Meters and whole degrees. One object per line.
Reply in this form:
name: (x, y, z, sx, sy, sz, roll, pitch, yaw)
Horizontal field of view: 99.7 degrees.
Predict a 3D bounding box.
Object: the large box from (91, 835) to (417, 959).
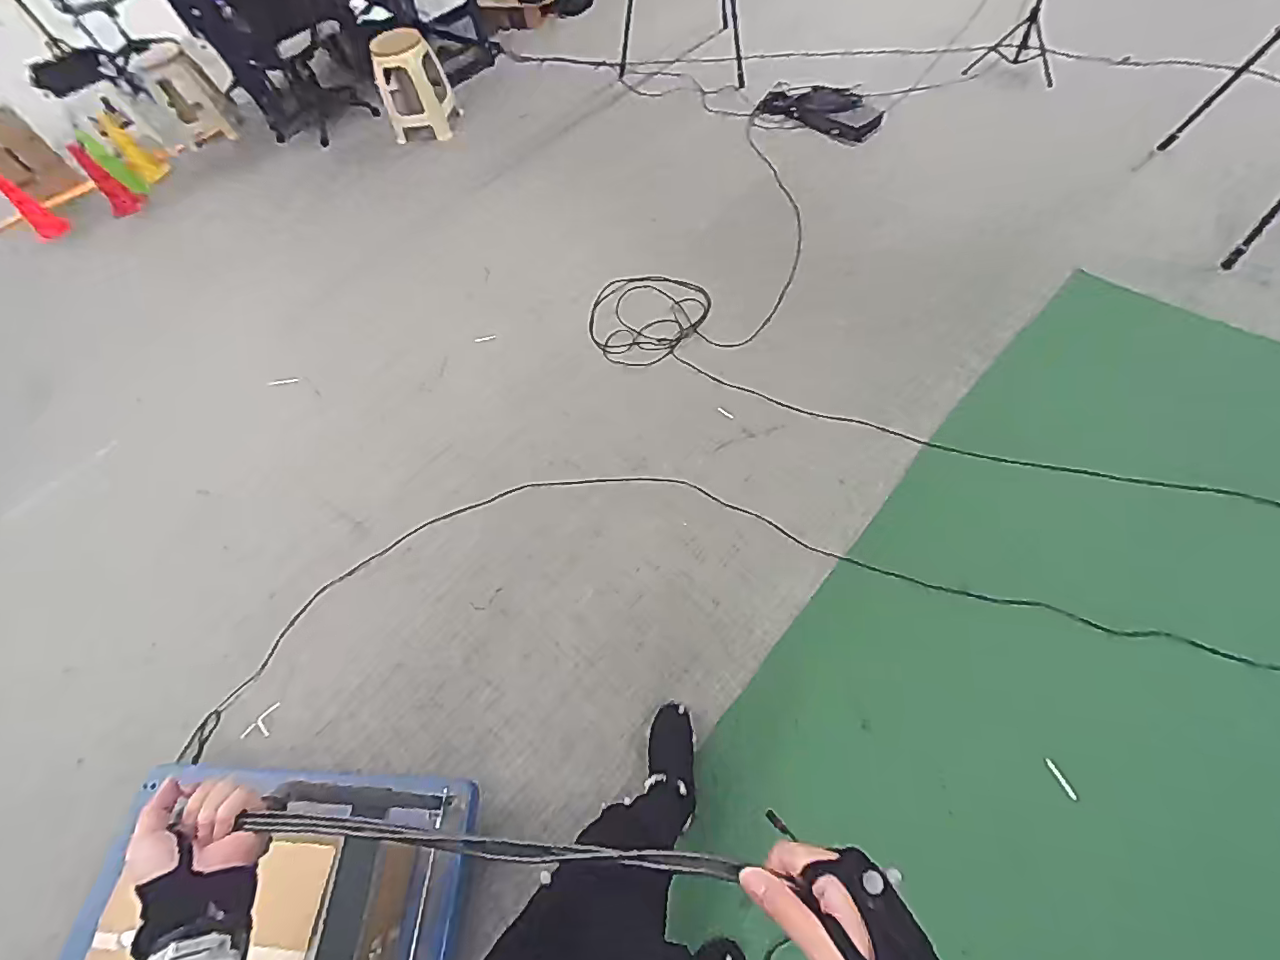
large box: (-0.708, 0.868, 1.022, 0.408, 0.320, 0.320, -2, 57, 8)
